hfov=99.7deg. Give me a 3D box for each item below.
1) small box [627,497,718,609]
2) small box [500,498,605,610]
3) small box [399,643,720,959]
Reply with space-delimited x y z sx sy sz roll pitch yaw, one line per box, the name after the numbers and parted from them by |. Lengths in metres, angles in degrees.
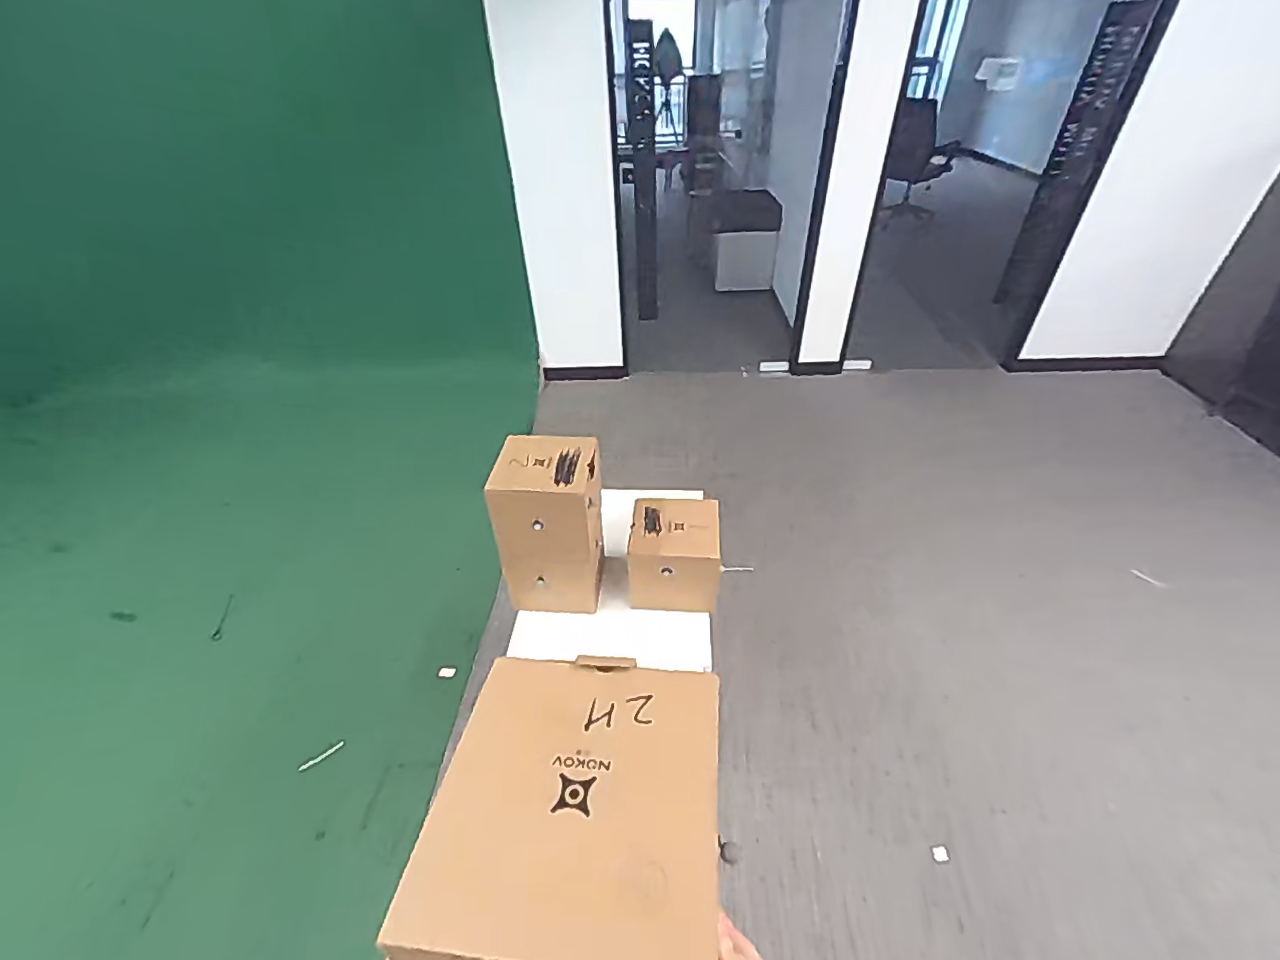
0.071 0.152 1.125 0.179 0.176 0.168 2 40 5 | small box
-0.173 0.155 1.130 0.179 0.176 0.168 2 40 3 | small box
-0.031 0.244 0.379 0.168 0.176 0.179 3 32 7 | small box
